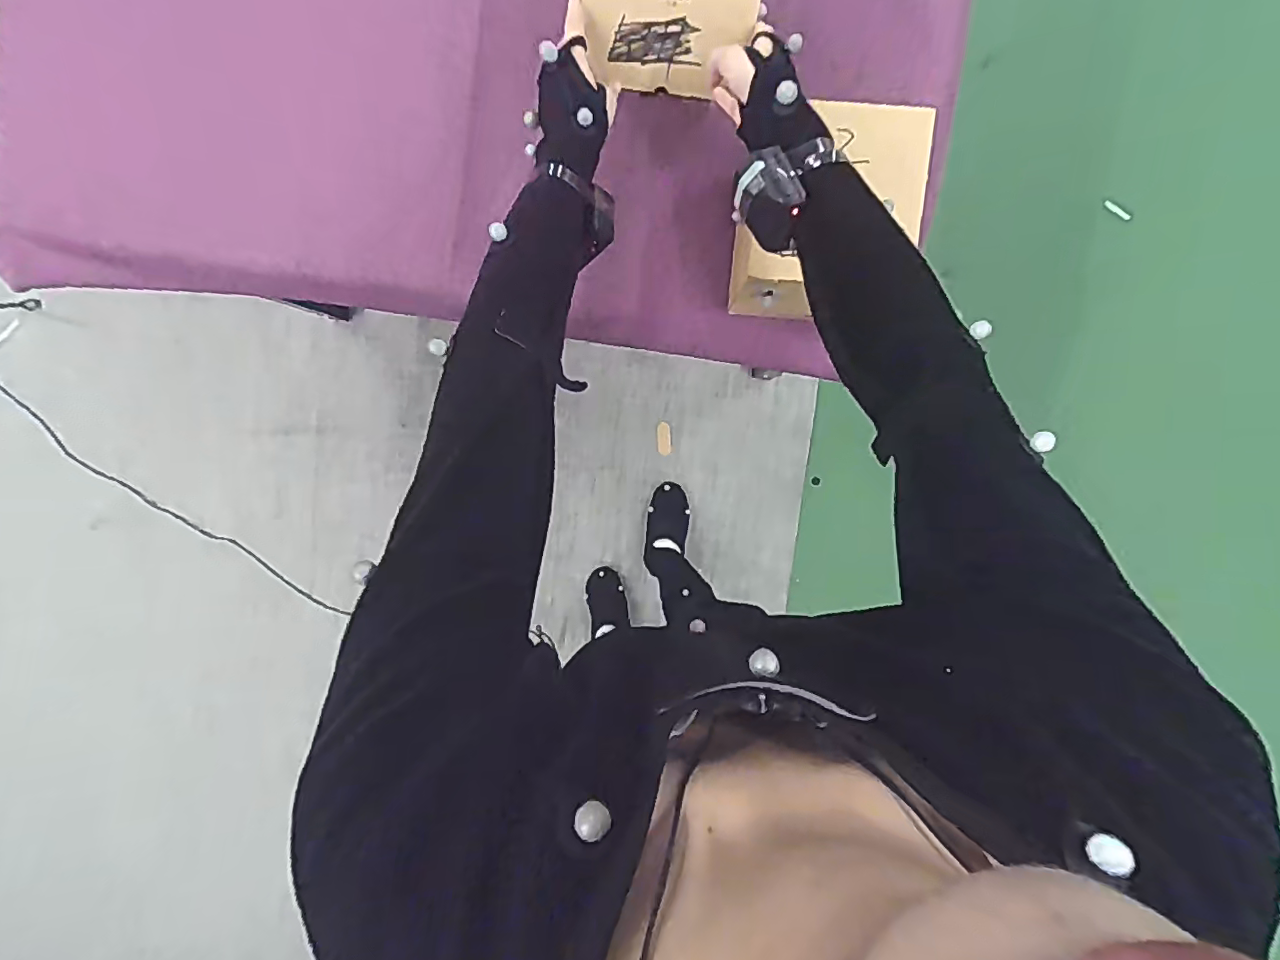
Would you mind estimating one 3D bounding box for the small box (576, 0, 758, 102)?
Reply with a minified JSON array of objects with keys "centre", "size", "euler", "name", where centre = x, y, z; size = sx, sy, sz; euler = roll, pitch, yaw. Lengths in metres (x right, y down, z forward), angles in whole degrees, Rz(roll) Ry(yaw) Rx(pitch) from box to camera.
[{"centre":[0.031,-0.500,0.539],"size":[0.168,0.176,0.179],"euler":[6,129,-3],"name":"small box"}]
